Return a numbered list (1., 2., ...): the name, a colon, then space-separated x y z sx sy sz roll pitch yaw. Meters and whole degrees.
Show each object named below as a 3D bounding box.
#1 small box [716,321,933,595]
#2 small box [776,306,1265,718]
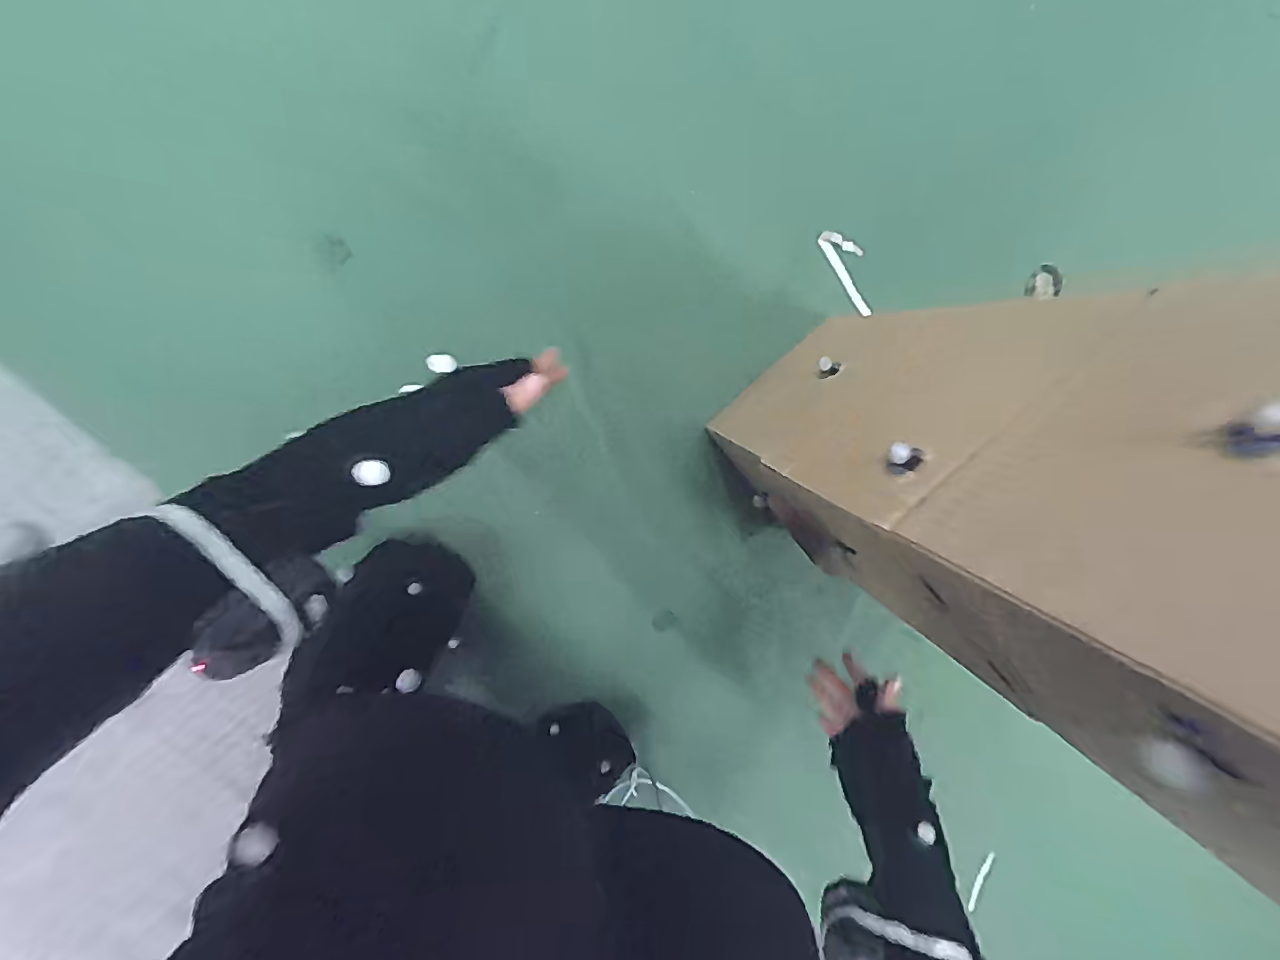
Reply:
1. small box: 0.201 -0.032 0.518 0.179 0.176 0.168 -41 106 3
2. small box: 0.226 0.006 0.362 0.179 0.176 0.168 -42 107 4
